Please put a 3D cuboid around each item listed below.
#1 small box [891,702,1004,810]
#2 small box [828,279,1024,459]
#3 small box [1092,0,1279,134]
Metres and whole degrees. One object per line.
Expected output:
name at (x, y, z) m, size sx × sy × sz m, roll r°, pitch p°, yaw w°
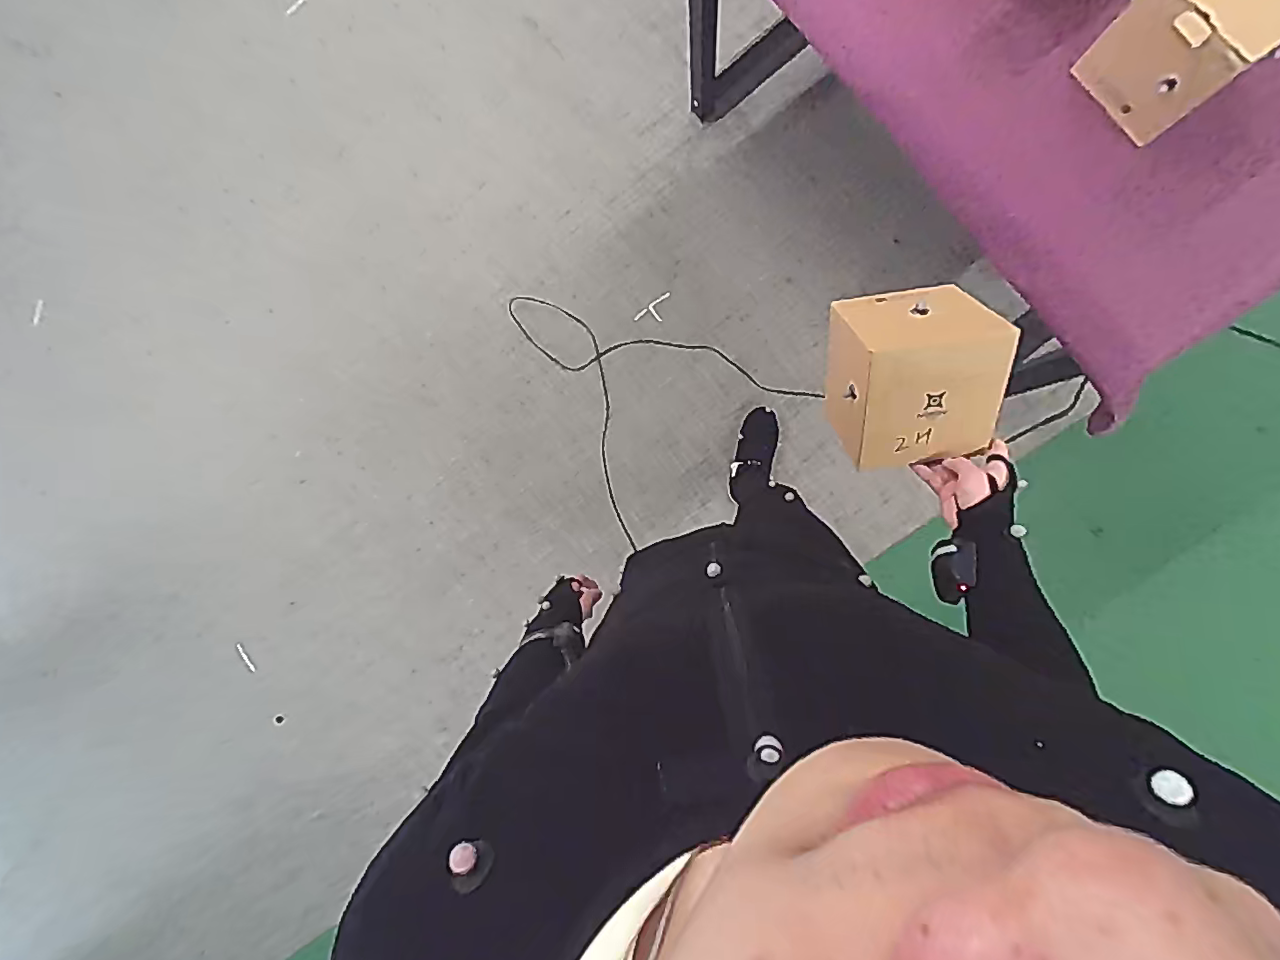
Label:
small box at (0.816, 0.730, 1.459) m, size 0.168 × 0.176 × 0.179 m, roll -38°, pitch 87°, yaw 5°
small box at (0.357, -0.152, 0.716) m, size 0.168 × 0.176 × 0.179 m, roll -7°, pitch 127°, yaw 6°
small box at (0.776, -0.626, 0.734) m, size 0.179 × 0.176 × 0.168 m, roll -37°, pitch 86°, yaw 5°
